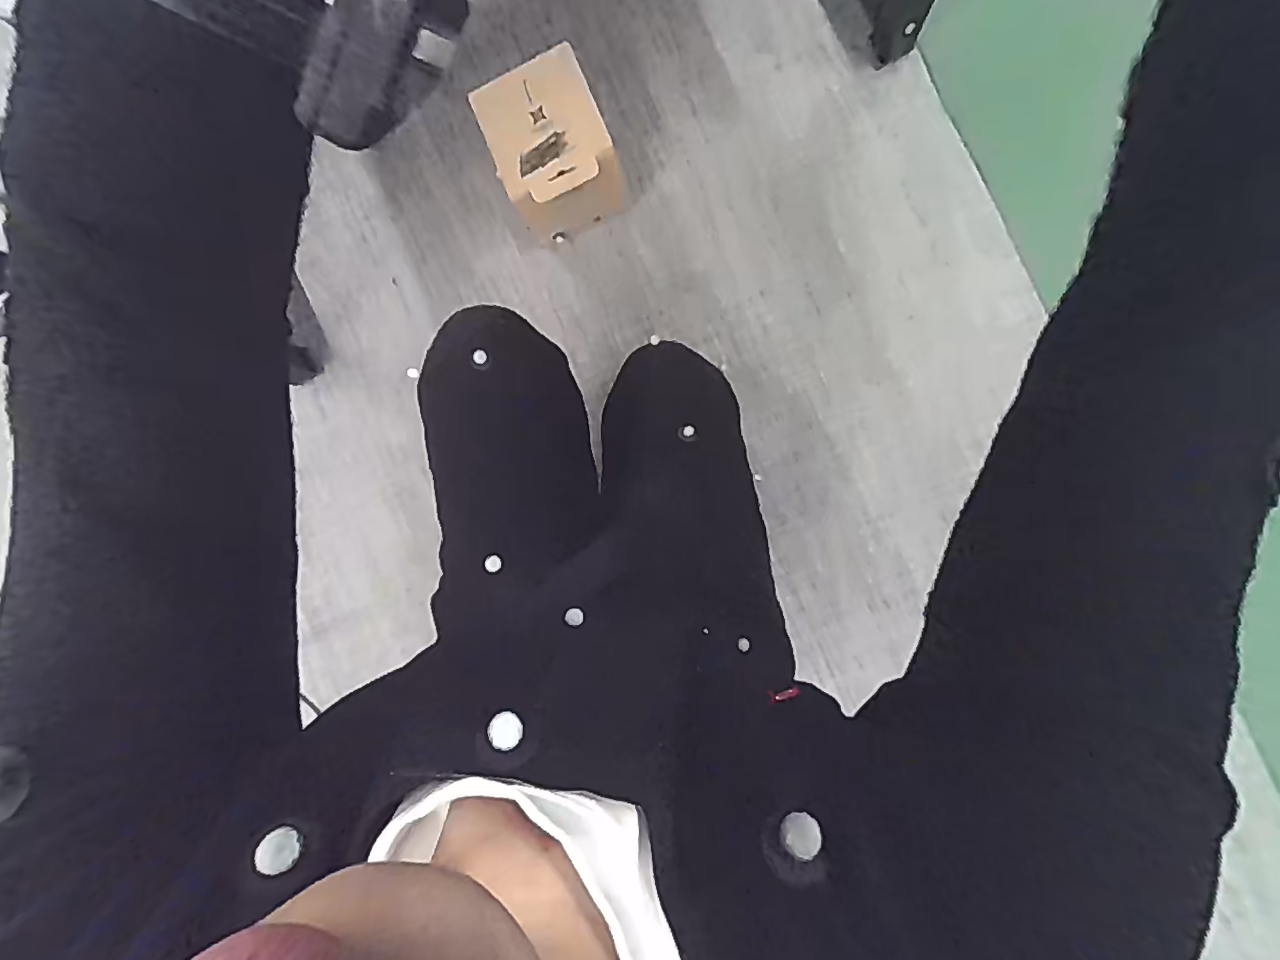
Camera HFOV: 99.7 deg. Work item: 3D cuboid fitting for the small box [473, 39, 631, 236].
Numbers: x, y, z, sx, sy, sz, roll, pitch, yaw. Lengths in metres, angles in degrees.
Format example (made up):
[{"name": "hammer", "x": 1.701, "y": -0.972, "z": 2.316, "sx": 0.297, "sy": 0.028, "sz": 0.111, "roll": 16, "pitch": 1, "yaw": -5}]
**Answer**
[{"name": "small box", "x": -0.126, "y": -0.512, "z": 0.845, "sx": 0.168, "sy": 0.176, "sz": 0.179, "roll": -23, "pitch": 86, "yaw": 7}]
